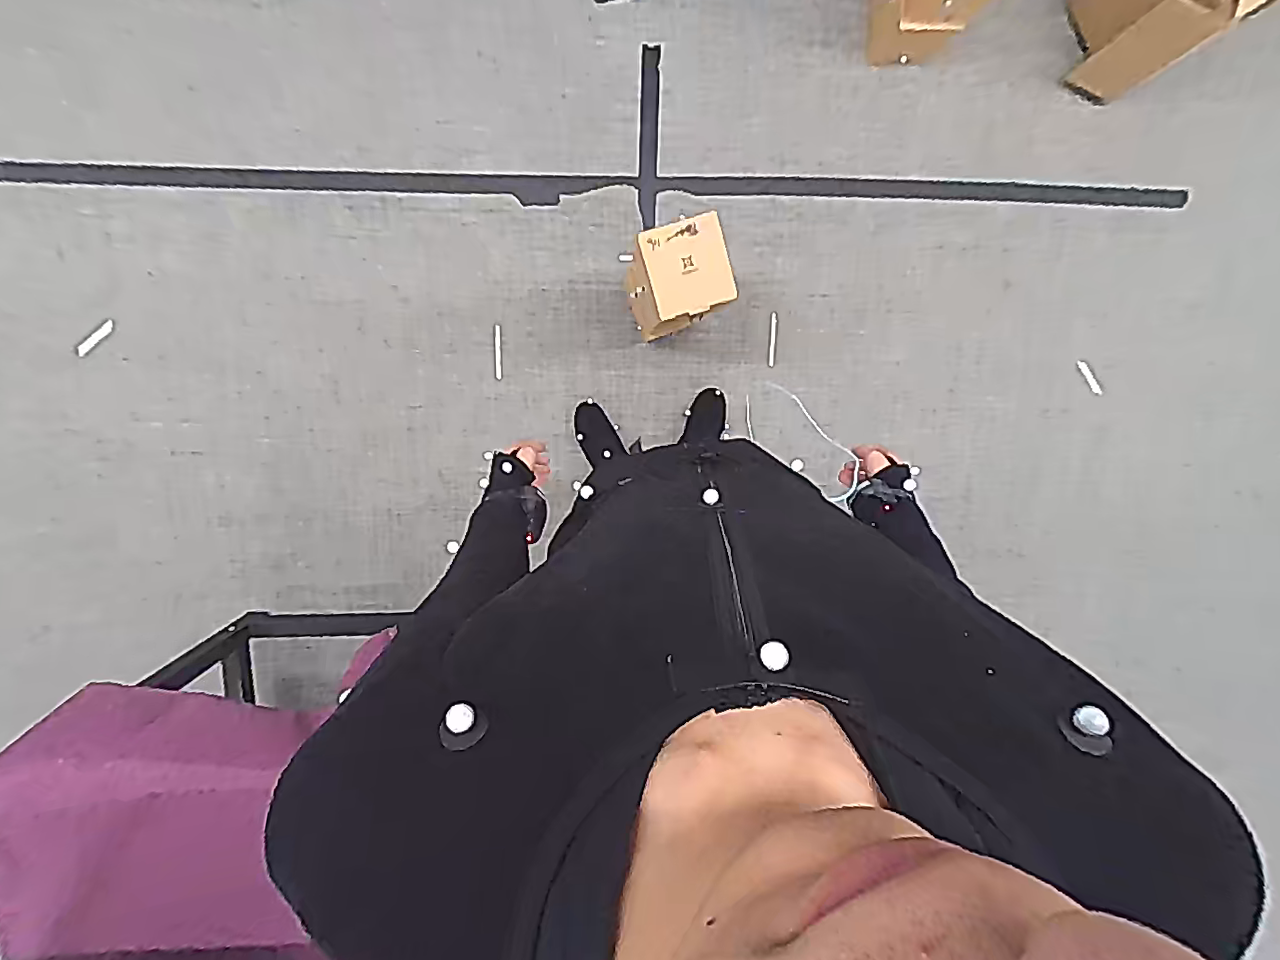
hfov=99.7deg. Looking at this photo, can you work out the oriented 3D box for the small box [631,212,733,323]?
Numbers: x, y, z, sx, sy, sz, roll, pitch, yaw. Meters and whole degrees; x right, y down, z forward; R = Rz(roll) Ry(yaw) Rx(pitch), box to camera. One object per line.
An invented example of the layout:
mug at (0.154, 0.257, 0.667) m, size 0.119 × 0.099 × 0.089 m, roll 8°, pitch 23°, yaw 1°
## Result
small box at (0.084, -0.441, 1.156) m, size 0.168 × 0.176 × 0.179 m, roll -17°, pitch 102°, yaw -1°
